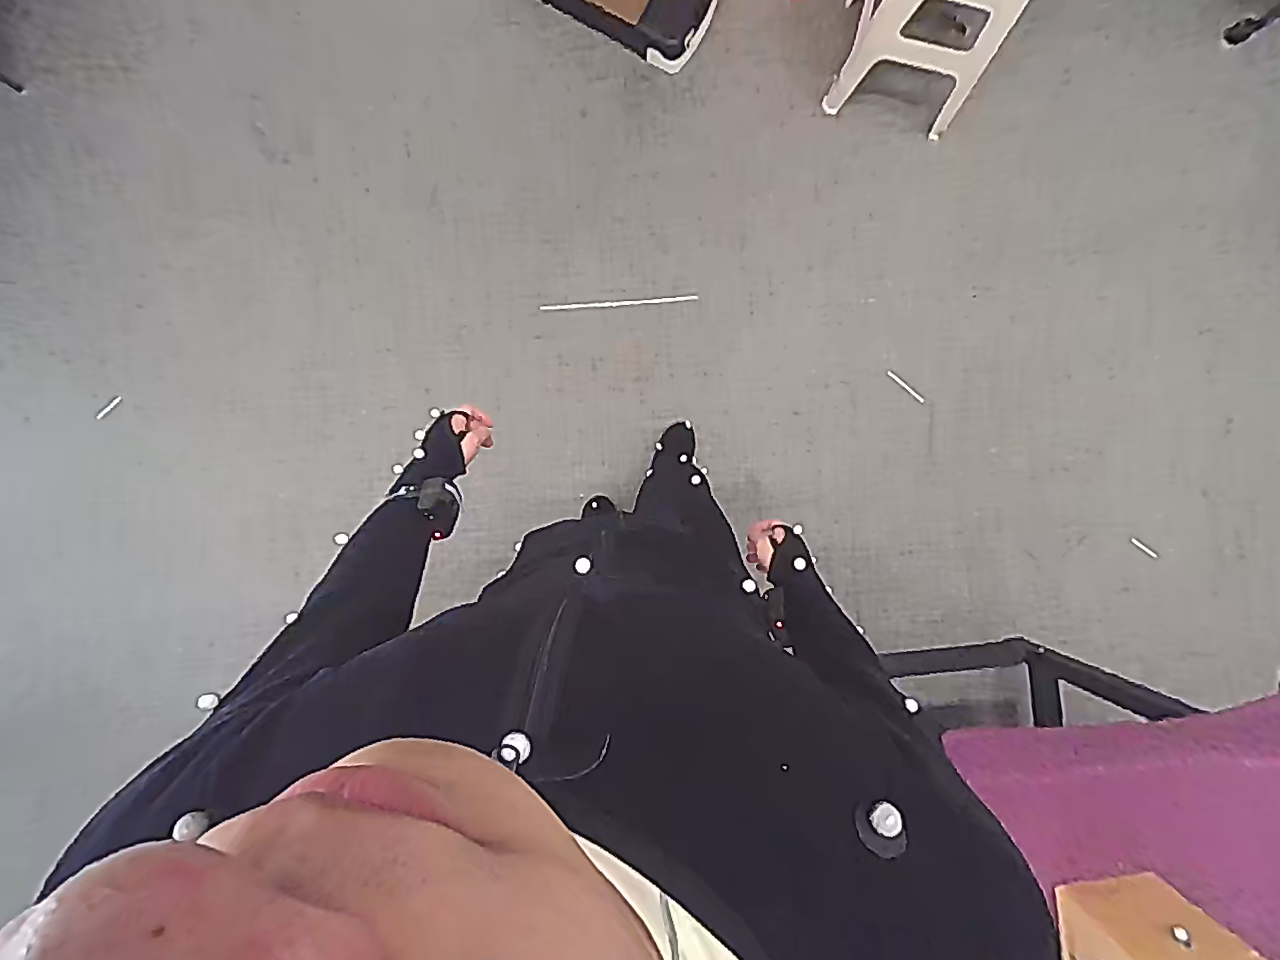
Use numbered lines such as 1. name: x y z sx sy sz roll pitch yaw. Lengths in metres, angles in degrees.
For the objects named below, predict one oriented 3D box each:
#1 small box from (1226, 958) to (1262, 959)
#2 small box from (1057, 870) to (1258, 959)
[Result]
1. small box: 0.795 0.750 0.676 0.179 0.176 0.168 -6 89 0
2. small box: 0.790 0.750 0.840 0.179 0.176 0.168 -6 90 -1
